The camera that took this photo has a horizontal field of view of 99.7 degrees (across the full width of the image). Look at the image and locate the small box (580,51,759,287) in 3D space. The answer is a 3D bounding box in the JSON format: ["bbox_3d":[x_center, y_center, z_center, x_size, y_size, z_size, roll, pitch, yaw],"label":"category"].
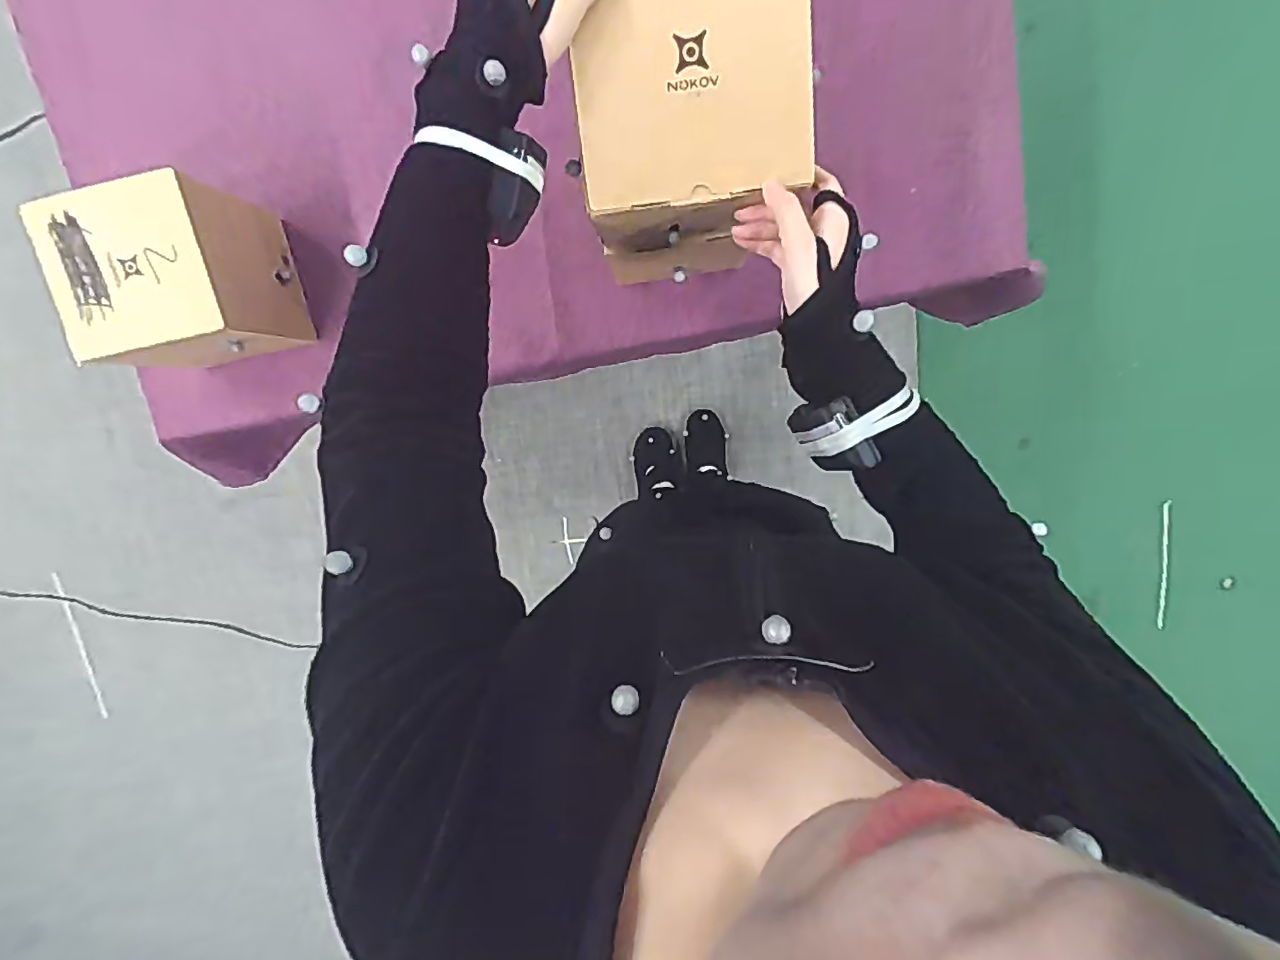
[{"bbox_3d":[0.032,-0.333,0.615,0.168,0.176,0.179,-7,100,3],"label":"small box"}]
